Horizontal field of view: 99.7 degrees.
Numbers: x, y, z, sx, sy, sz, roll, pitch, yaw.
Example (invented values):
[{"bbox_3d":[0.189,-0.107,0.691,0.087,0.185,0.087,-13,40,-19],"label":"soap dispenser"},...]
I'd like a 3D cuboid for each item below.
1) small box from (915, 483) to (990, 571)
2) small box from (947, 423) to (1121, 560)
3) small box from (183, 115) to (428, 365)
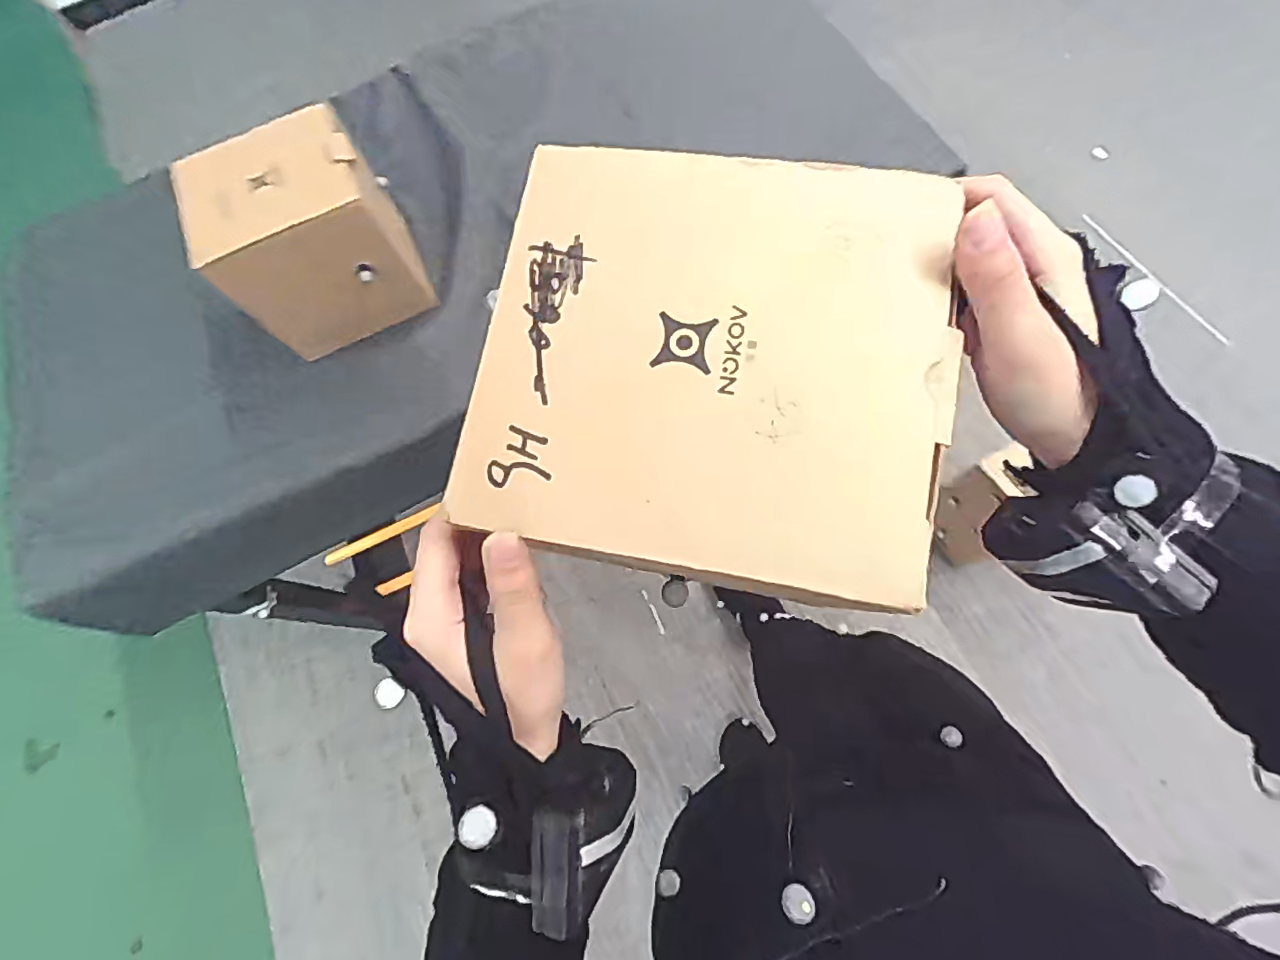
[{"bbox_3d":[0.736,0.077,1.162,0.179,0.176,0.168,-25,69,-3],"label":"small box"},{"bbox_3d":[0.709,0.030,1.006,0.179,0.176,0.168,-27,70,-5],"label":"small box"},{"bbox_3d":[-0.373,-0.269,0.633,0.179,0.176,0.168,-27,68,-3],"label":"small box"}]
